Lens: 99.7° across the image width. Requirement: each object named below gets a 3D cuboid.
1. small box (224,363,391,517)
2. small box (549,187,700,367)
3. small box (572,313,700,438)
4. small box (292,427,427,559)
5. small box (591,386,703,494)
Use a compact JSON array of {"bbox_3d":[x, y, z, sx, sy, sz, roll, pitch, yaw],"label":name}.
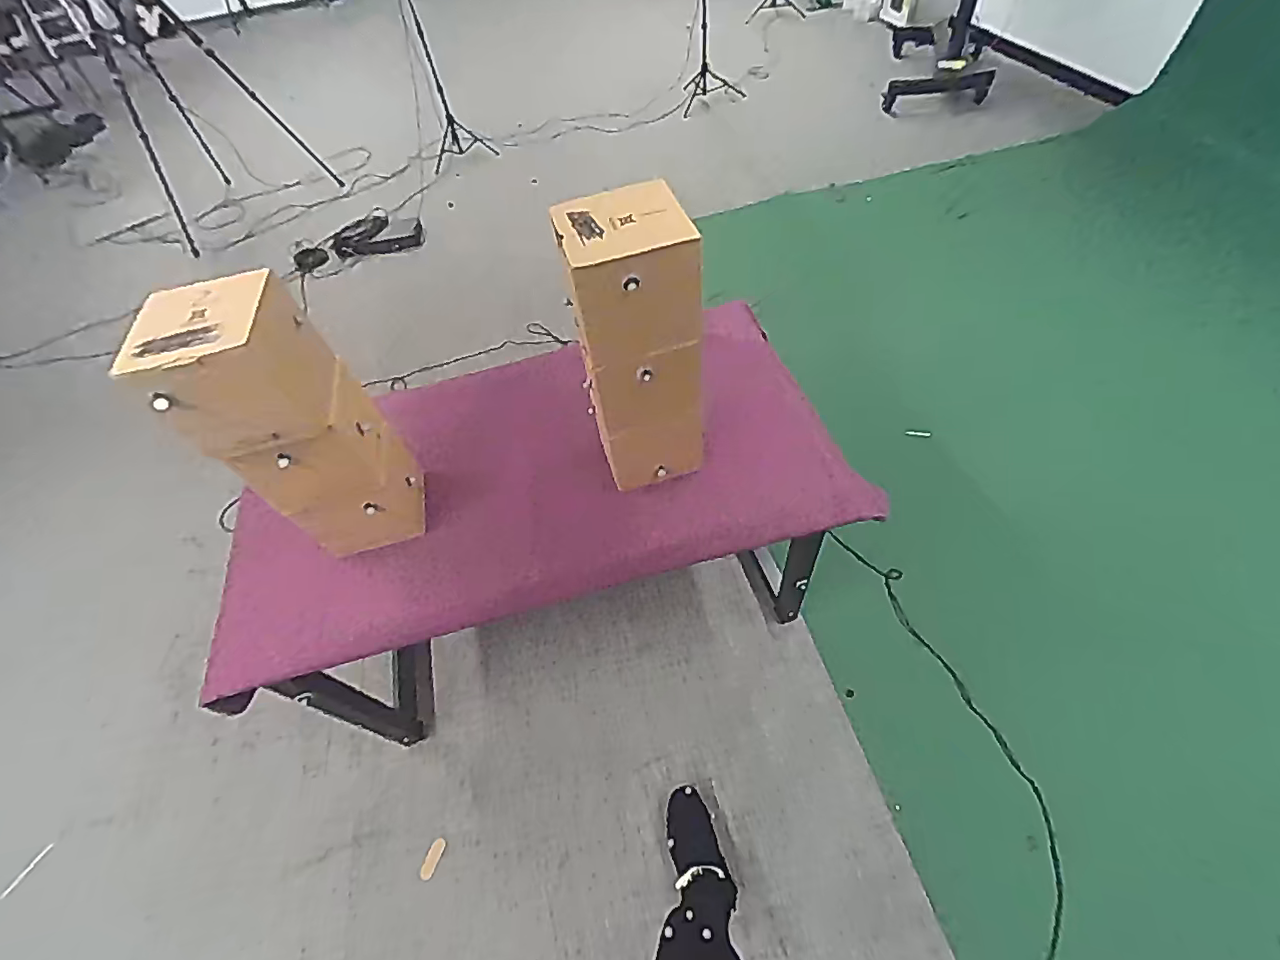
[{"bbox_3d":[-0.541,-0.063,0.910,0.179,0.176,0.168,-16,54,-3],"label":"small box"},{"bbox_3d":[-0.019,-0.293,0.799,0.179,0.176,0.168,-17,55,-4],"label":"small box"},{"bbox_3d":[-0.003,-0.196,0.930,0.179,0.176,0.168,-16,54,-3],"label":"small box"},{"bbox_3d":[-0.524,0.029,1.042,0.179,0.176,0.168,-15,53,-4],"label":"small box"},{"bbox_3d":[0.015,-0.099,1.061,0.179,0.176,0.168,-17,53,-5],"label":"small box"}]
